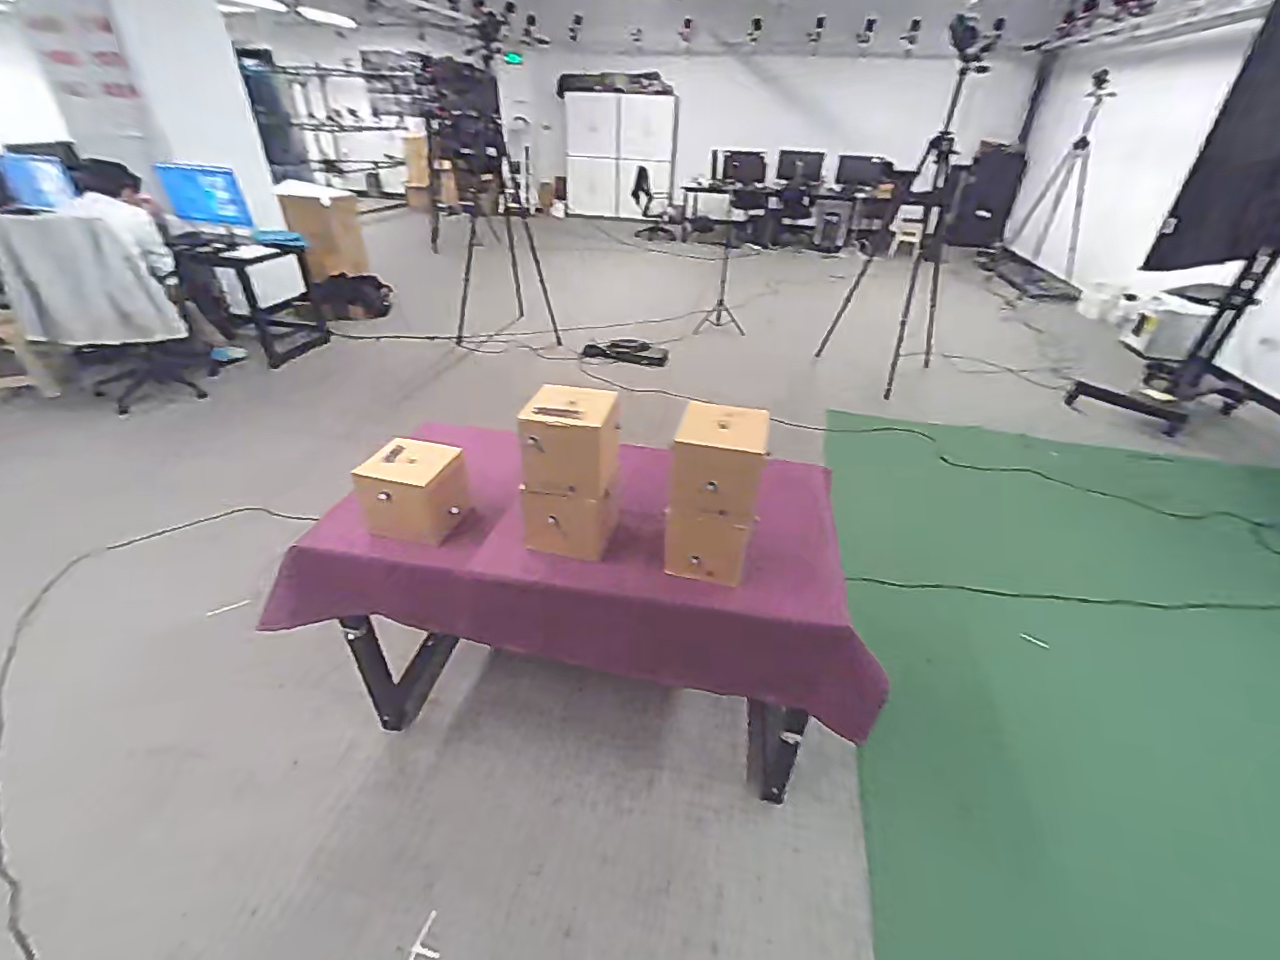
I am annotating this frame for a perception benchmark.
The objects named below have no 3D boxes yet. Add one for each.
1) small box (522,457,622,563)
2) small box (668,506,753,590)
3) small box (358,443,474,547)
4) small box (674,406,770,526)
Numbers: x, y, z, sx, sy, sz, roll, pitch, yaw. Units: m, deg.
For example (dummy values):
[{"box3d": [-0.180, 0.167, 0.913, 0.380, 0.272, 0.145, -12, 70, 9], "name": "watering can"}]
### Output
[{"box3d": [-0.147, 0.067, 1.227, 0.179, 0.176, 0.168, 9, 34, 12], "name": "small box"}, {"box3d": [0.158, 0.109, 1.180, 0.168, 0.176, 0.179, 10, 35, 12], "name": "small box"}, {"box3d": [-0.510, 0.035, 1.256, 0.179, 0.176, 0.168, 10, 34, 10], "name": "small box"}, {"box3d": [0.164, -0.029, 1.089, 0.168, 0.176, 0.179, 9, 34, 11], "name": "small box"}]
